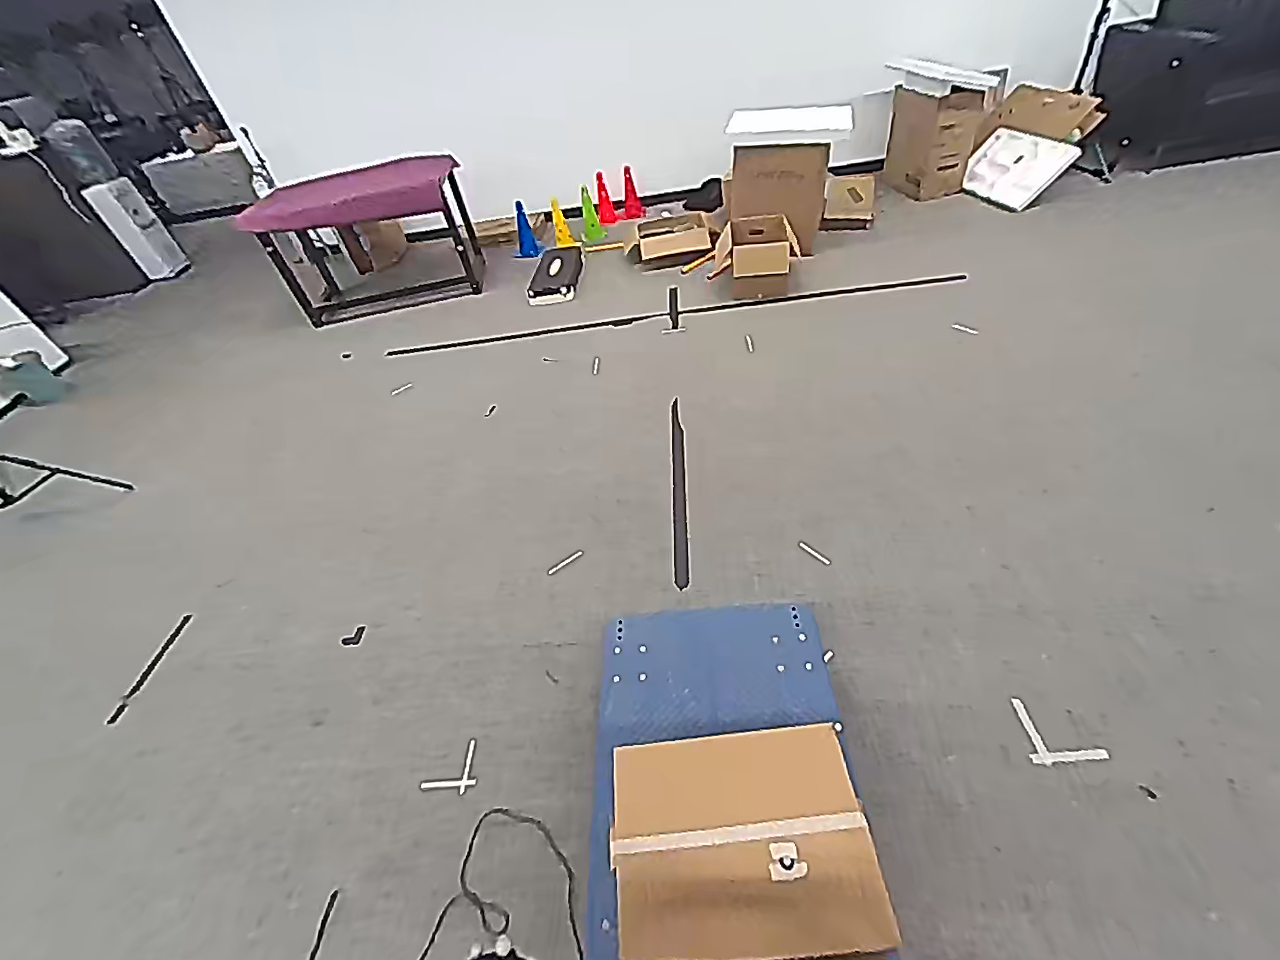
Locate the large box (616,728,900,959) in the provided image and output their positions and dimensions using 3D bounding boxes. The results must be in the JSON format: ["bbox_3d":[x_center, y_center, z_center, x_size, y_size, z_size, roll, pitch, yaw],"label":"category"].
[{"bbox_3d":[0.180,0.690,0.977,0.408,0.320,0.320,-8,44,2],"label":"large box"}]
